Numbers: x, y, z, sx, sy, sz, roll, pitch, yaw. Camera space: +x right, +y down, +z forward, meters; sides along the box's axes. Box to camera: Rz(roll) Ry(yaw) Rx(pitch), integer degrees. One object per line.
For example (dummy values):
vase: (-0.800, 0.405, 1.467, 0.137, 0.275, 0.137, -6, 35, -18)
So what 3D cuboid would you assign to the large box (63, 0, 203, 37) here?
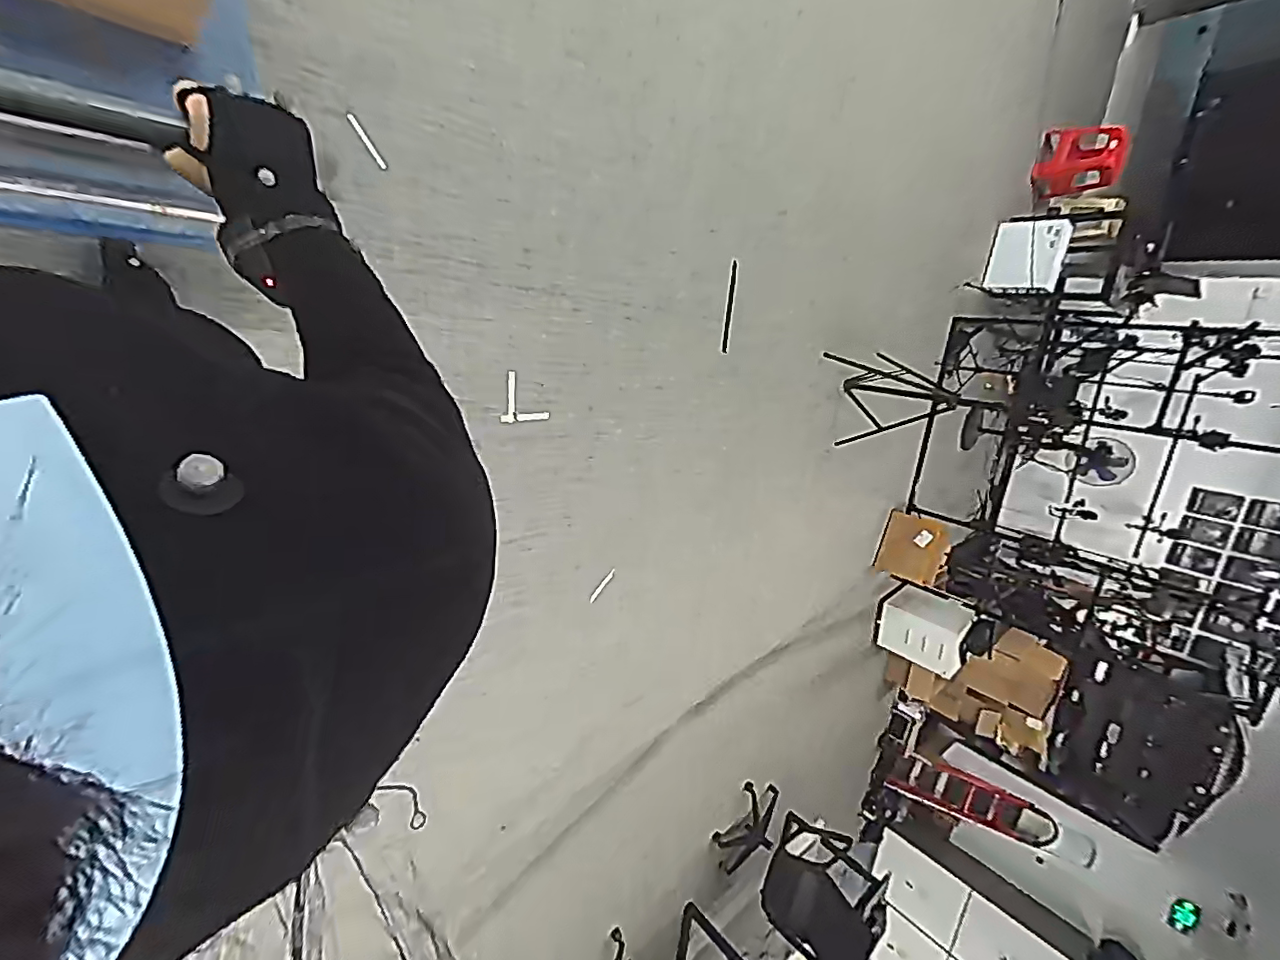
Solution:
large box: (-0.801, -0.823, 0.646, 0.408, 0.320, 0.320, -9, 111, -41)
